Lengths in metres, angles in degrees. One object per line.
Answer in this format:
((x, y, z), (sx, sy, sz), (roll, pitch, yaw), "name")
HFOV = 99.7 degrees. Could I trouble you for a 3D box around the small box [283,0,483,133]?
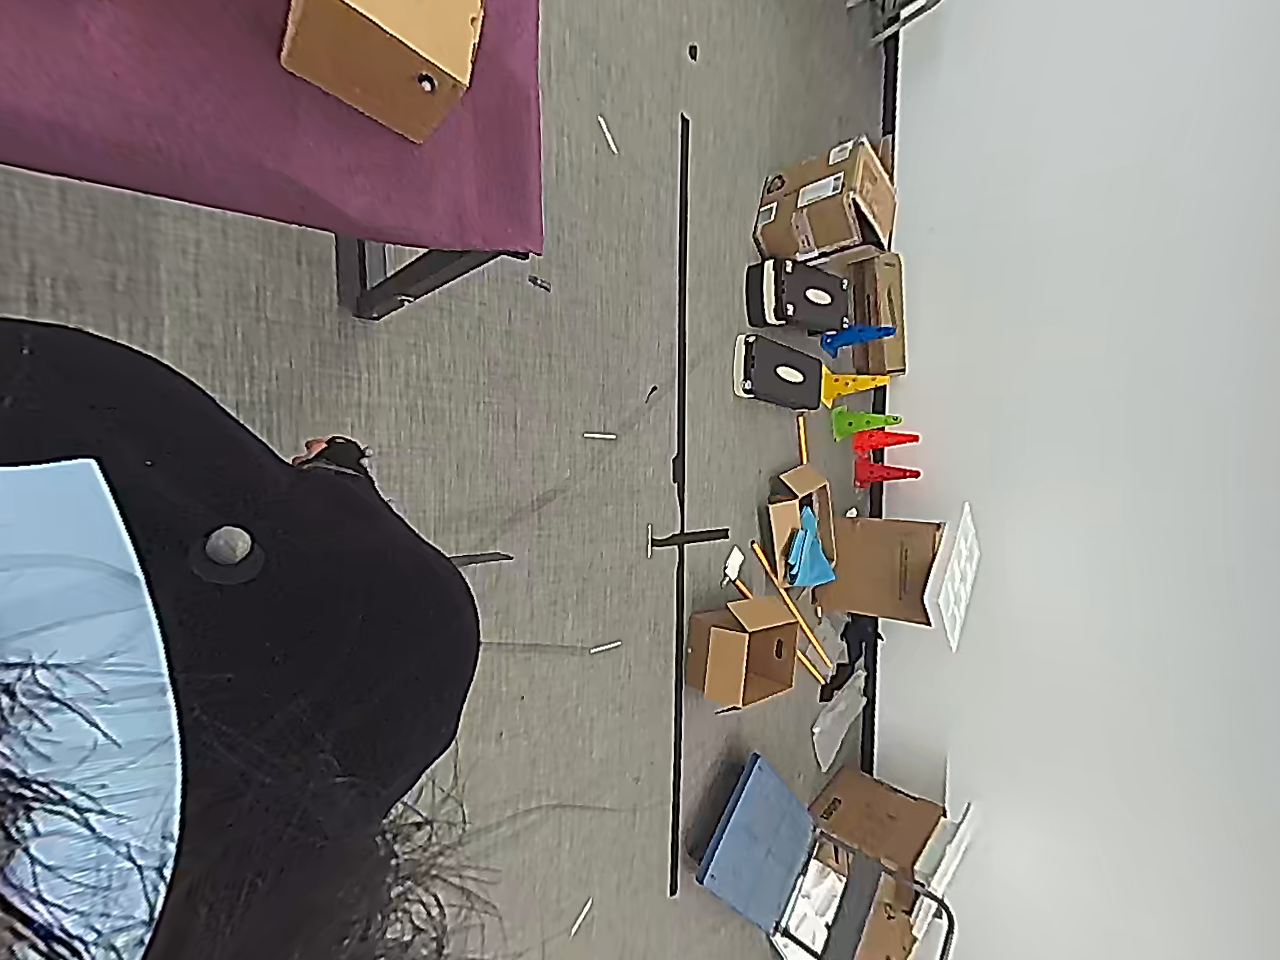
((-0.316, -0.576, 0.666), (0.179, 0.176, 0.168), (11, 84, -44), "small box")
